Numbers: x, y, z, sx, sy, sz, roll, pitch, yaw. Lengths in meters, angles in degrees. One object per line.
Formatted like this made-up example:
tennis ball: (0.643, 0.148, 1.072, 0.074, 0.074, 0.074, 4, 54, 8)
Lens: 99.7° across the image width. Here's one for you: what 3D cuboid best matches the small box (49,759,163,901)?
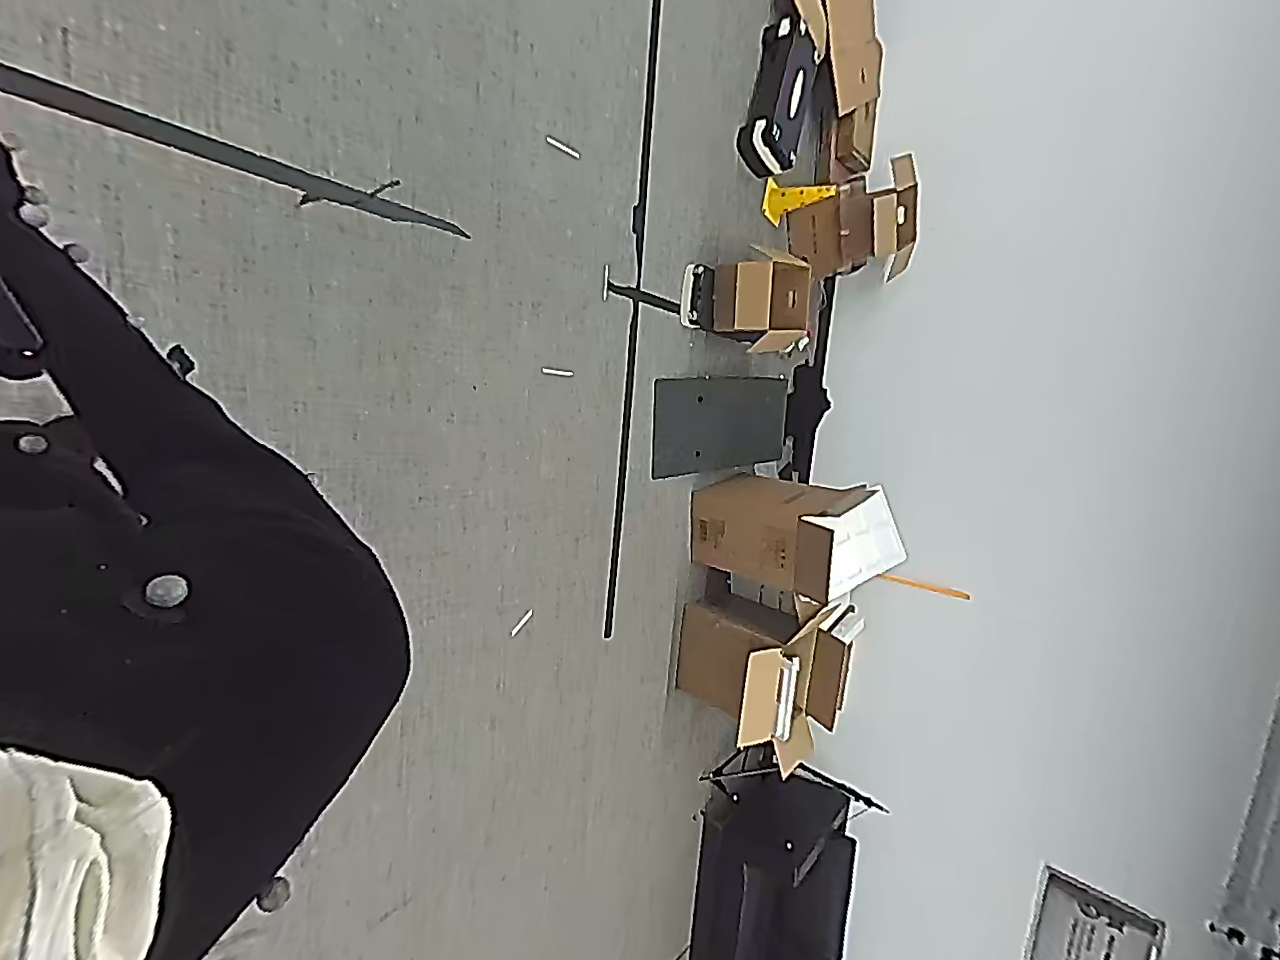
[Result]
small box: (-1.219, 0.786, 1.235, 0.168, 0.176, 0.179, -9, 105, -49)
